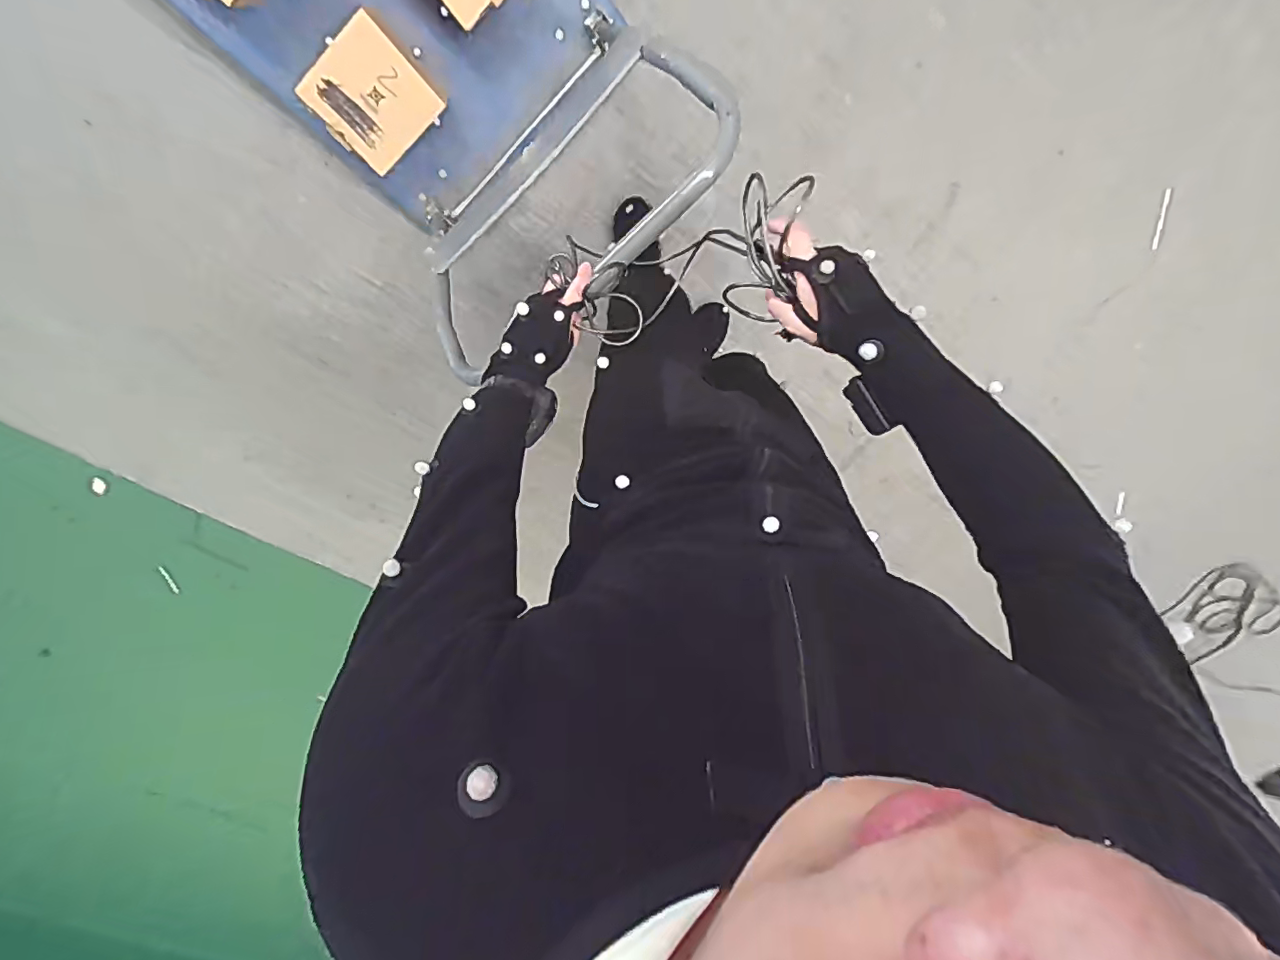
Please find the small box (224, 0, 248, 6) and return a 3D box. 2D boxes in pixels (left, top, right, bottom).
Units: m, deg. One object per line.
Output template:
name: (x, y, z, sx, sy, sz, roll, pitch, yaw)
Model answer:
small box: (-0.625, -0.847, 0.784, 0.168, 0.176, 0.179, -41, 130, 20)
